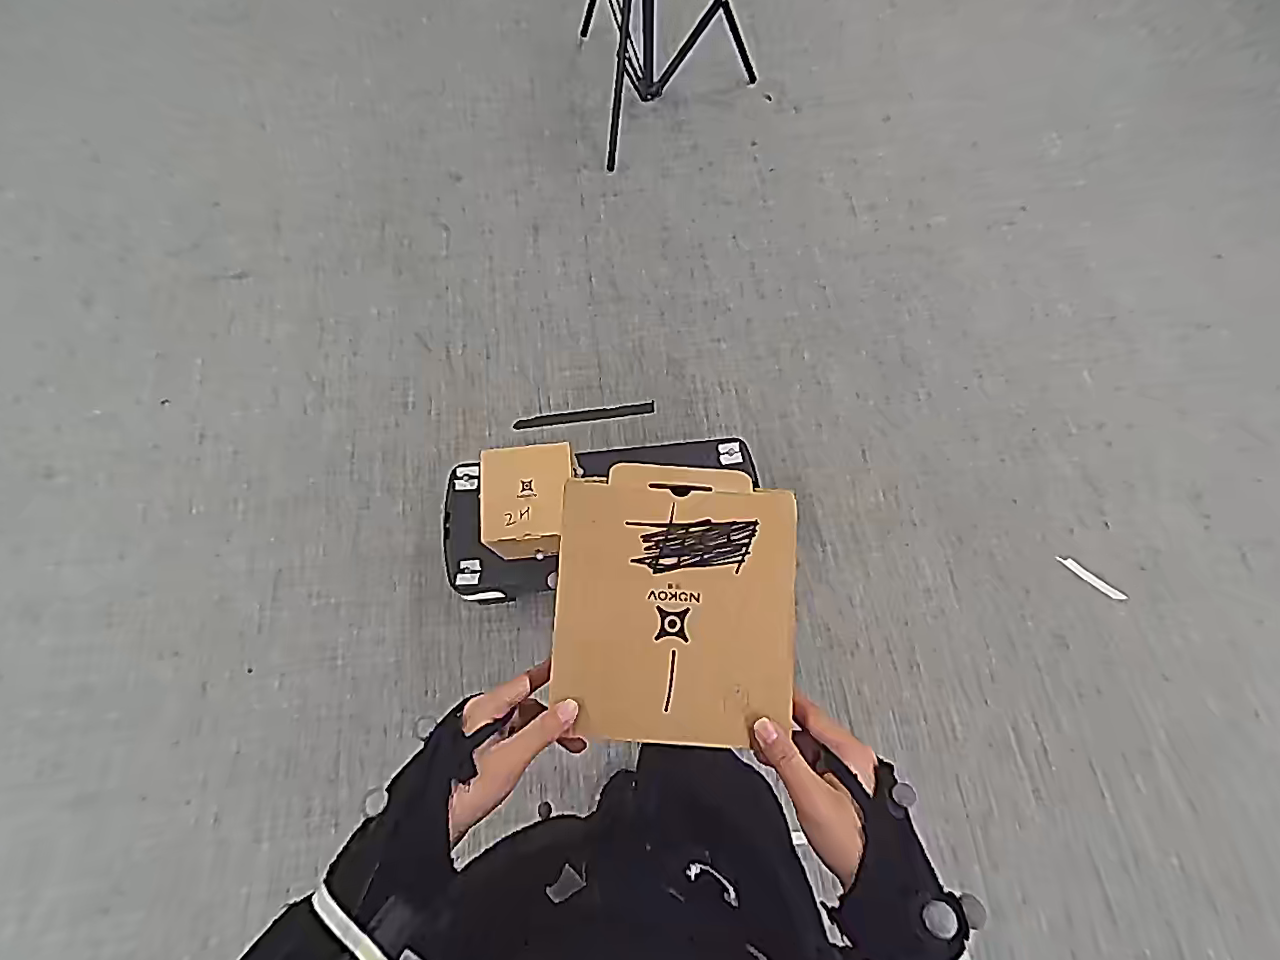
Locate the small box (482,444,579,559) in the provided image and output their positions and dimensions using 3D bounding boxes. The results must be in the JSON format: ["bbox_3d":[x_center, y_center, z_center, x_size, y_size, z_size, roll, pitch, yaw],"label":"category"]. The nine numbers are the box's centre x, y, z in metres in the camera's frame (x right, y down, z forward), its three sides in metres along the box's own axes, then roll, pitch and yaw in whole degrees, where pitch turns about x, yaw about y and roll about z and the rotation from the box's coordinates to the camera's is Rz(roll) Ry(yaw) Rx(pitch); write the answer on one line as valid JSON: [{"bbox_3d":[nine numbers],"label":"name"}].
[{"bbox_3d":[-0.198,0.046,1.038,0.168,0.176,0.179,-5,72,0],"label":"small box"}]

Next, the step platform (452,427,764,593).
[{"bbox_3d":[-0.063,0.069,1.212,0.684,0.204,0.286,-6,71,0],"label":"step platform"}]

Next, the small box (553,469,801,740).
[{"bbox_3d":[0.028,0.094,0.451,0.168,0.176,0.179,3,83,1],"label":"small box"}]
